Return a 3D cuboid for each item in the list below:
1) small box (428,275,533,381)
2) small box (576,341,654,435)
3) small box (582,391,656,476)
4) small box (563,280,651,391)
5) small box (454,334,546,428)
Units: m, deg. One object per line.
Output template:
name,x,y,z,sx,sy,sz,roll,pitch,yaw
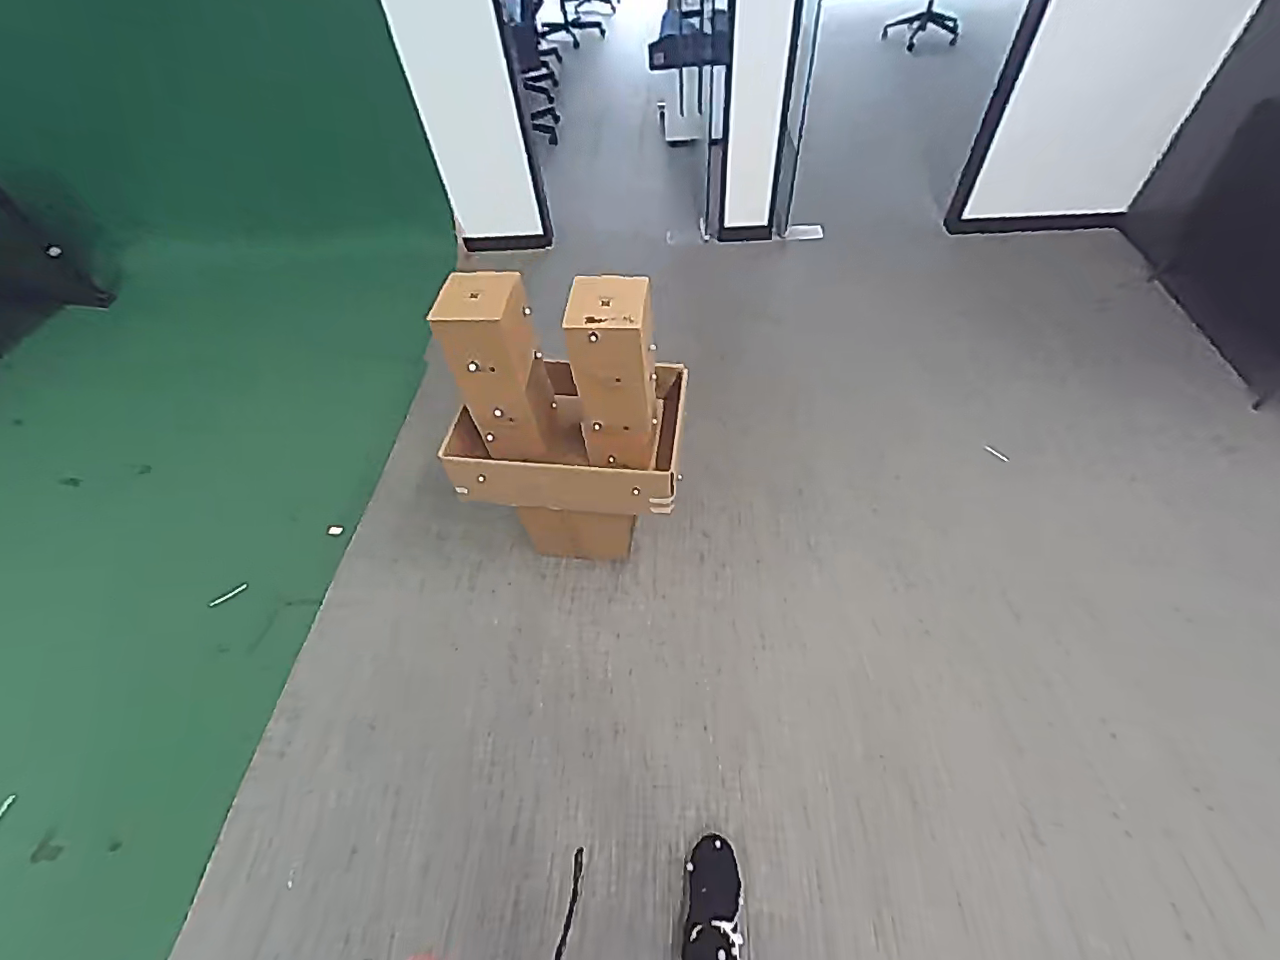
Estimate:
small box,-0.355,-0.351,1.247,0.168,0.176,0.179,3,53,7
small box,-0.054,-0.228,1.339,0.168,0.176,0.179,2,53,6
small box,-0.051,-0.135,1.474,0.168,0.176,0.179,6,54,8
small box,-0.065,-0.322,1.205,0.168,0.176,0.179,2,53,6
small box,-0.346,-0.254,1.378,0.168,0.176,0.179,2,53,7
